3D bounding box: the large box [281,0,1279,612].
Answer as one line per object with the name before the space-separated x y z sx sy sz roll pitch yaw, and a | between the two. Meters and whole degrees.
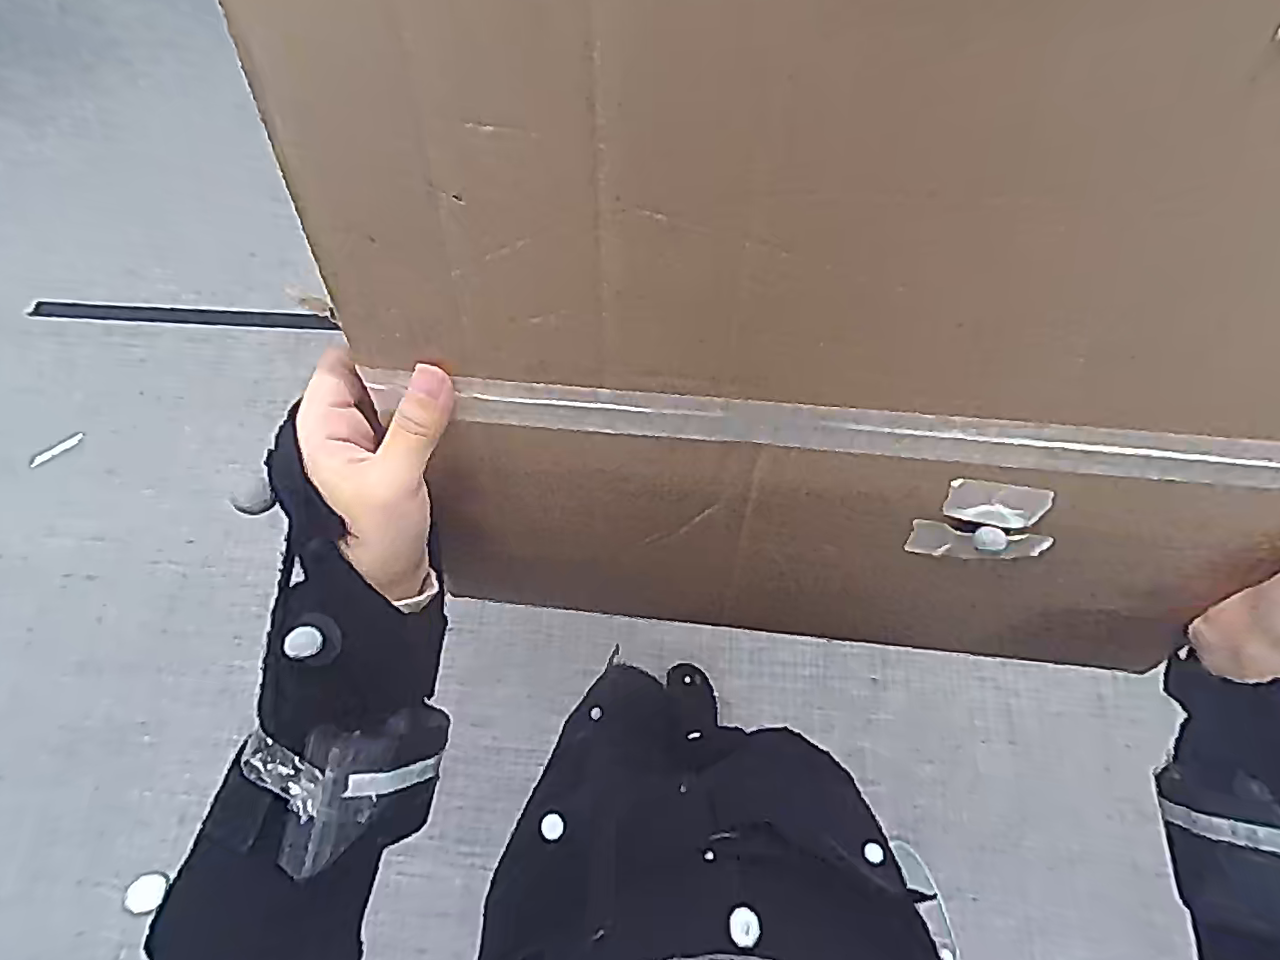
large box | 0.105 -0.151 0.321 0.408 0.320 0.320 4 44 4
